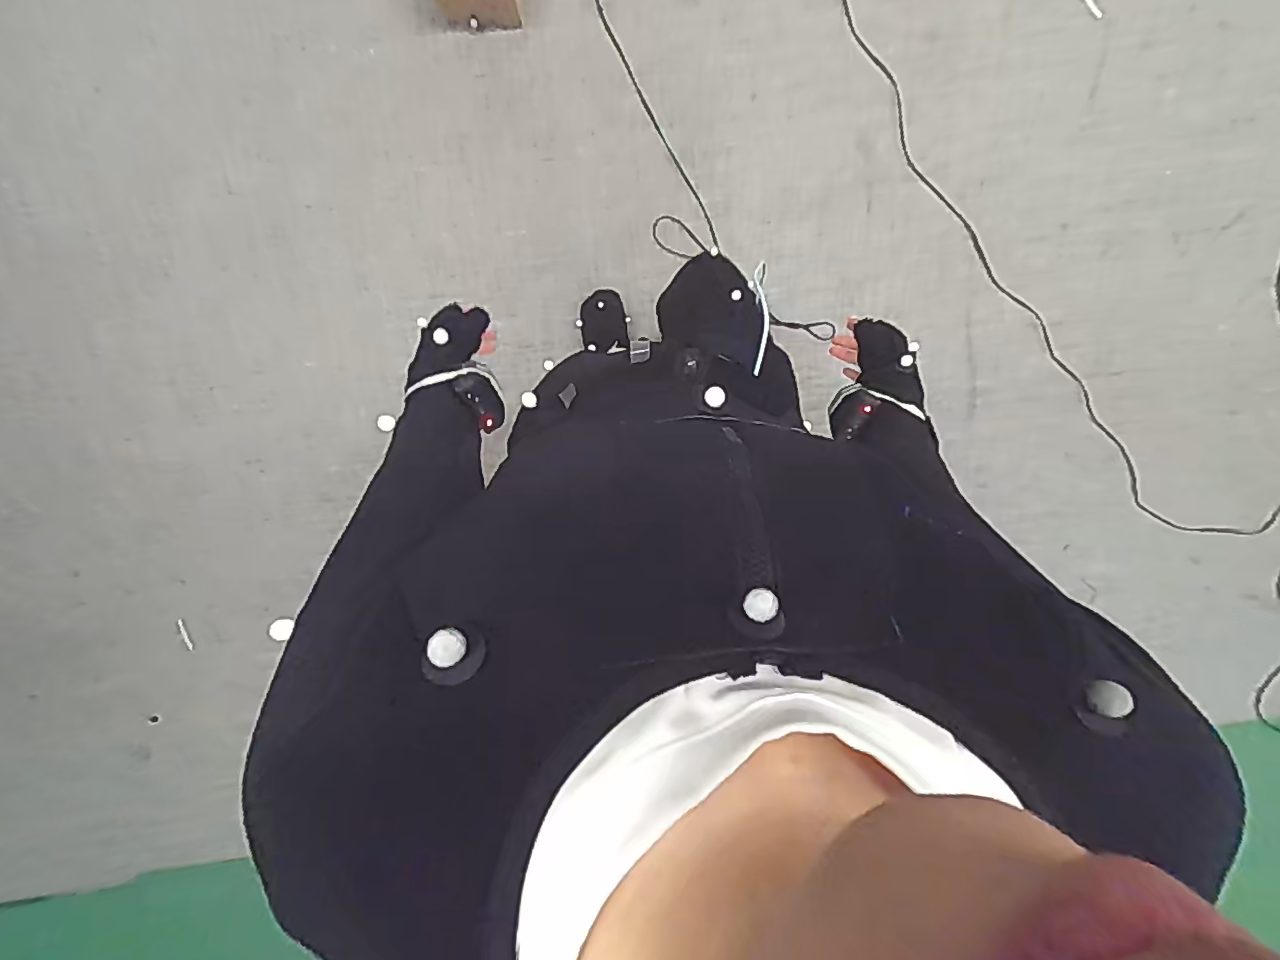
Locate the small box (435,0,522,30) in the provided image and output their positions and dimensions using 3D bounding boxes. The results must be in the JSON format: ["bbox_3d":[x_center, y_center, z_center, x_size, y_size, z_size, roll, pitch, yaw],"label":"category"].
[{"bbox_3d":[-0.324,-1.015,1.040,0.168,0.176,0.179,-1,108,-3],"label":"small box"}]
